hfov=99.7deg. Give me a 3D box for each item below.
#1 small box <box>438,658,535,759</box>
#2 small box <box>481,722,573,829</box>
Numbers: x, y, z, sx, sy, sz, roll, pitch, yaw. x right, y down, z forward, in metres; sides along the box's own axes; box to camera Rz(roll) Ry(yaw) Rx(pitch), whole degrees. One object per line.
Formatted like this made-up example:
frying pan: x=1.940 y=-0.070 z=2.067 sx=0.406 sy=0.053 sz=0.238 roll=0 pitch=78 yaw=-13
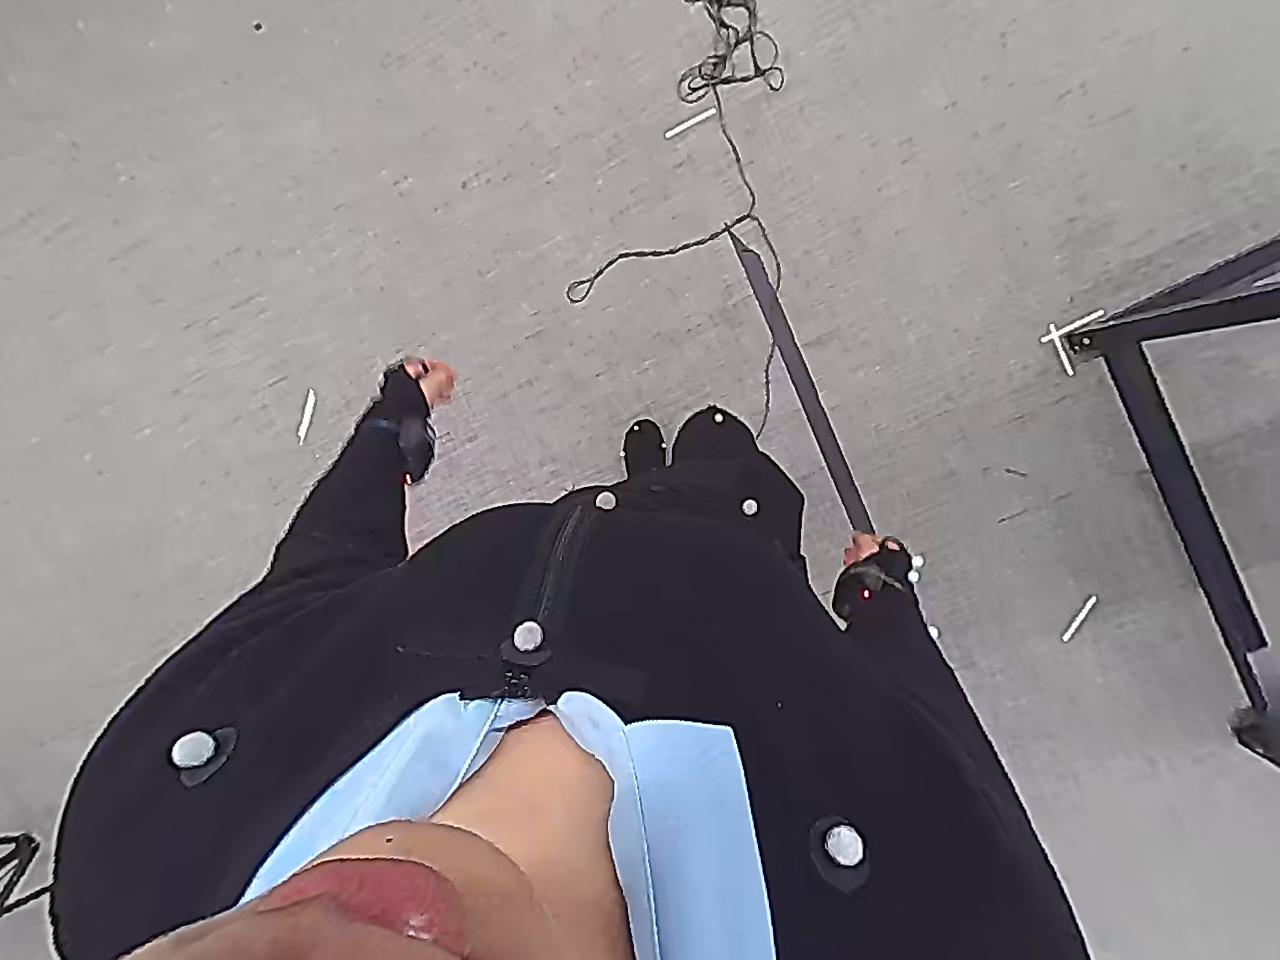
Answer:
small box: x=-0.411 y=0.619 z=1.481 sx=0.179 sy=0.176 sz=0.168 roll=-21 pitch=97 yaw=7
small box: x=-0.300 y=0.804 z=1.489 sx=0.179 sy=0.176 sz=0.168 roll=-28 pitch=91 yaw=8
